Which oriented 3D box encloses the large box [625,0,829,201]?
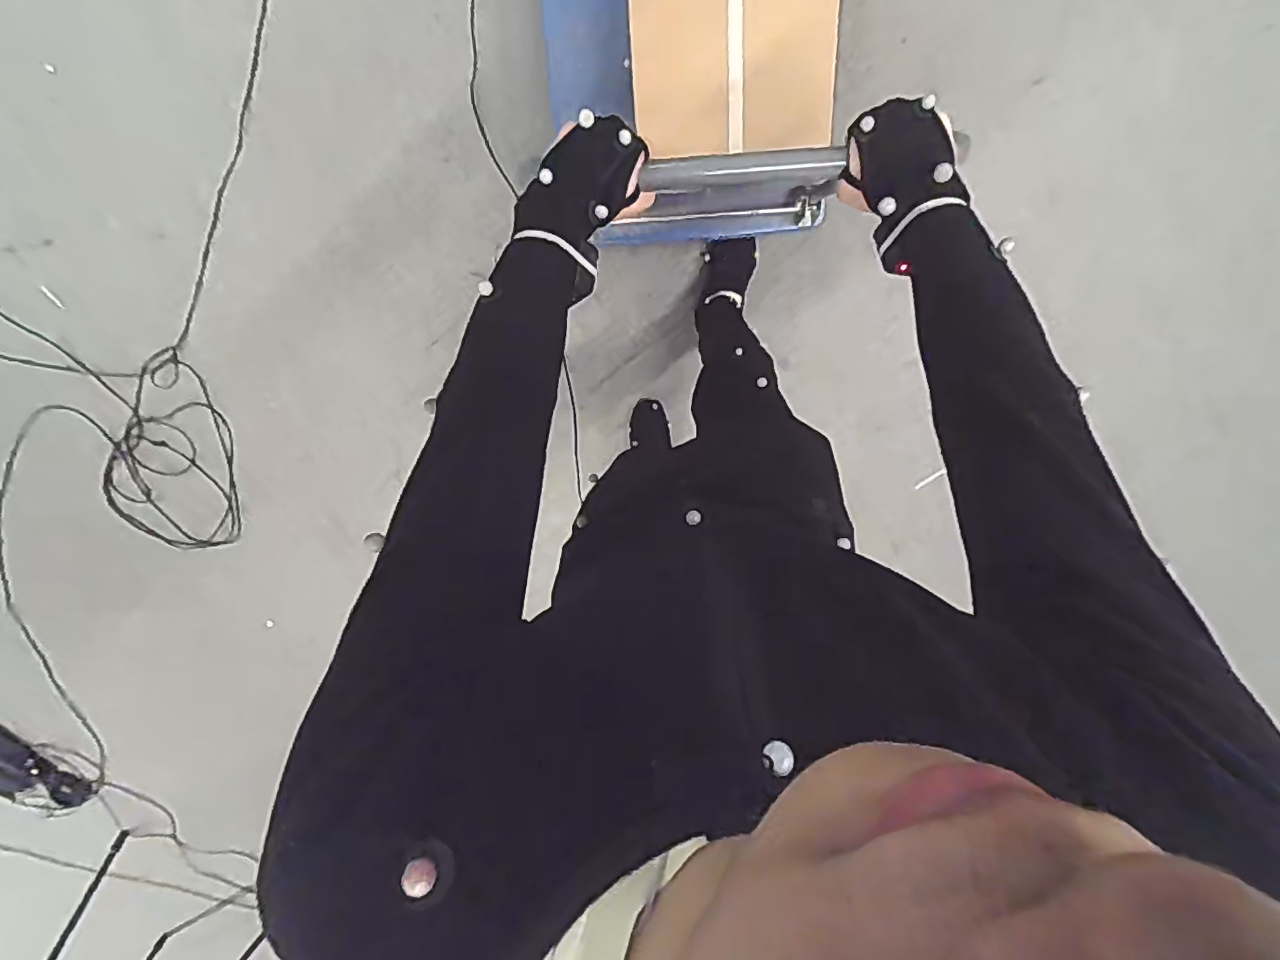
[{"bbox_3d":[0.142,-0.753,0.974,0.320,0.320,0.408,-3,112,3],"label":"large box"}]
